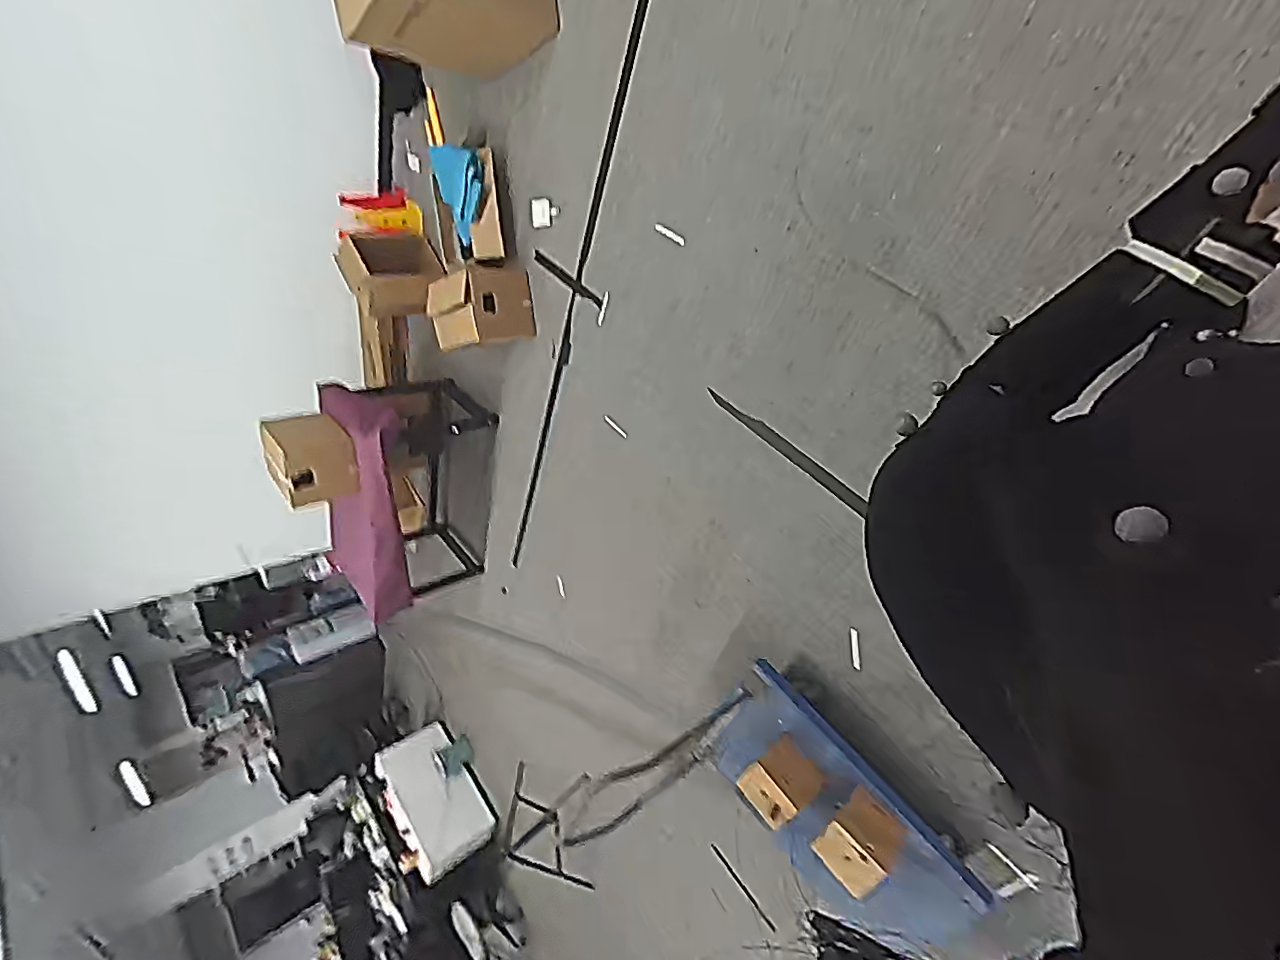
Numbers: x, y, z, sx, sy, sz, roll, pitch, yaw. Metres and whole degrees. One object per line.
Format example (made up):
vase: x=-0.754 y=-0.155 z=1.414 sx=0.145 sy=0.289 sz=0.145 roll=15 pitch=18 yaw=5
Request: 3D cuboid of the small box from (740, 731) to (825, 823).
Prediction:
small box: x=0.465 y=0.960 z=1.758 sx=0.179 sy=0.176 sz=0.168 roll=46 pitch=133 yaw=28

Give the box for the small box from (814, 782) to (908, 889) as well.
small box: x=0.650 y=1.035 z=1.583 sx=0.168 sy=0.176 sz=0.179 roll=40 pitch=131 yaw=31
